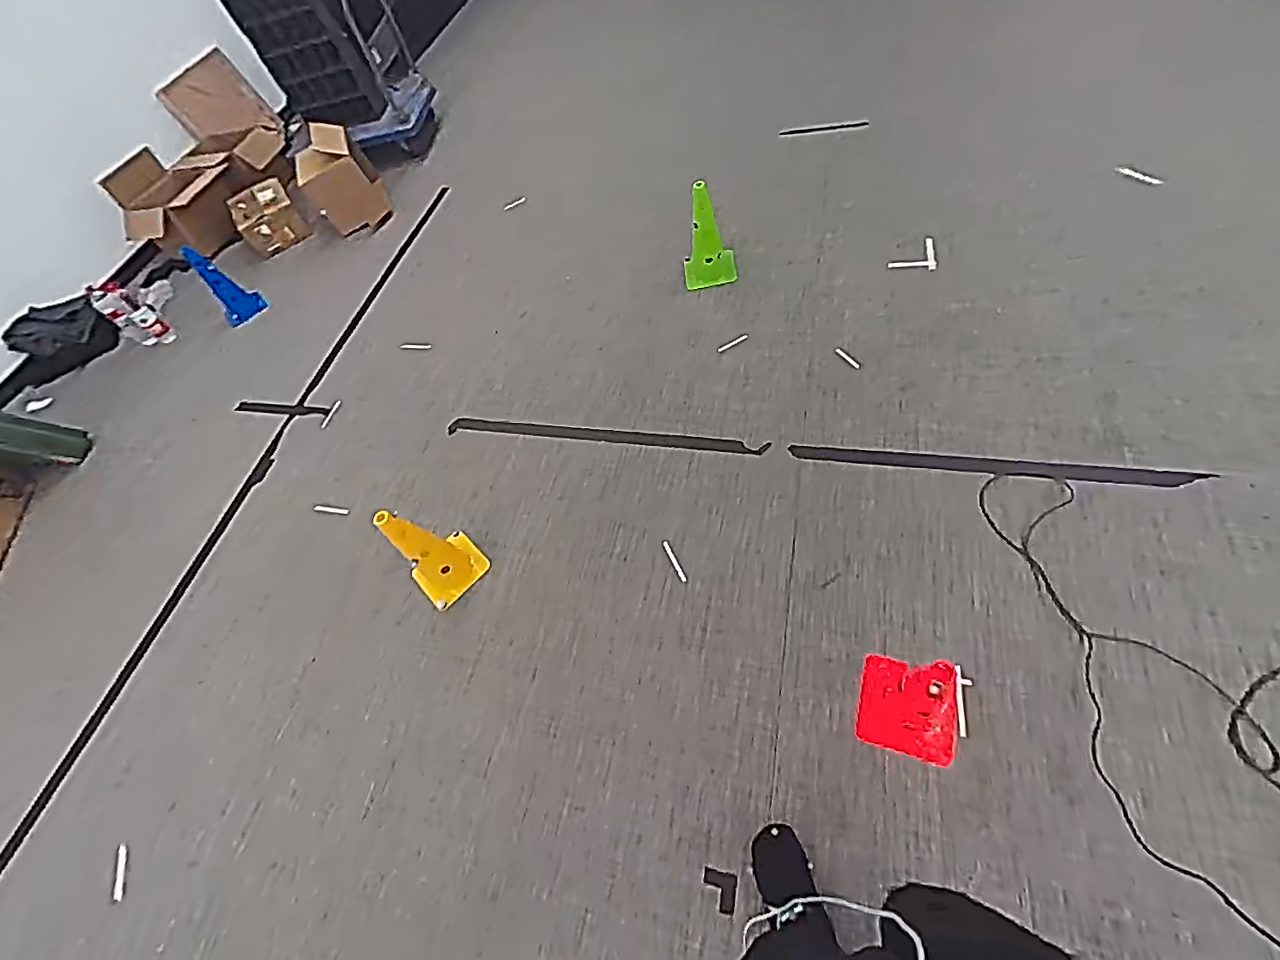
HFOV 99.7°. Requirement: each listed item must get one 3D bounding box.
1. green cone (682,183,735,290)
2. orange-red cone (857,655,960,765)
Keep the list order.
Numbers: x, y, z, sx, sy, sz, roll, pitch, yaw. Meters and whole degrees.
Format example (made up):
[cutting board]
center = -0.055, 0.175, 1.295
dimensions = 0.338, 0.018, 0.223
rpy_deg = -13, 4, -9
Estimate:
[green cone]
center = 0.239, -0.932, 2.037
dimensions = 0.202, 0.368, 0.200
rpy_deg = -8, 57, 8
[orange-red cone]
center = 0.567, 0.422, 1.083
dimensions = 0.199, 0.360, 0.198
rpy_deg = 11, 61, 22
